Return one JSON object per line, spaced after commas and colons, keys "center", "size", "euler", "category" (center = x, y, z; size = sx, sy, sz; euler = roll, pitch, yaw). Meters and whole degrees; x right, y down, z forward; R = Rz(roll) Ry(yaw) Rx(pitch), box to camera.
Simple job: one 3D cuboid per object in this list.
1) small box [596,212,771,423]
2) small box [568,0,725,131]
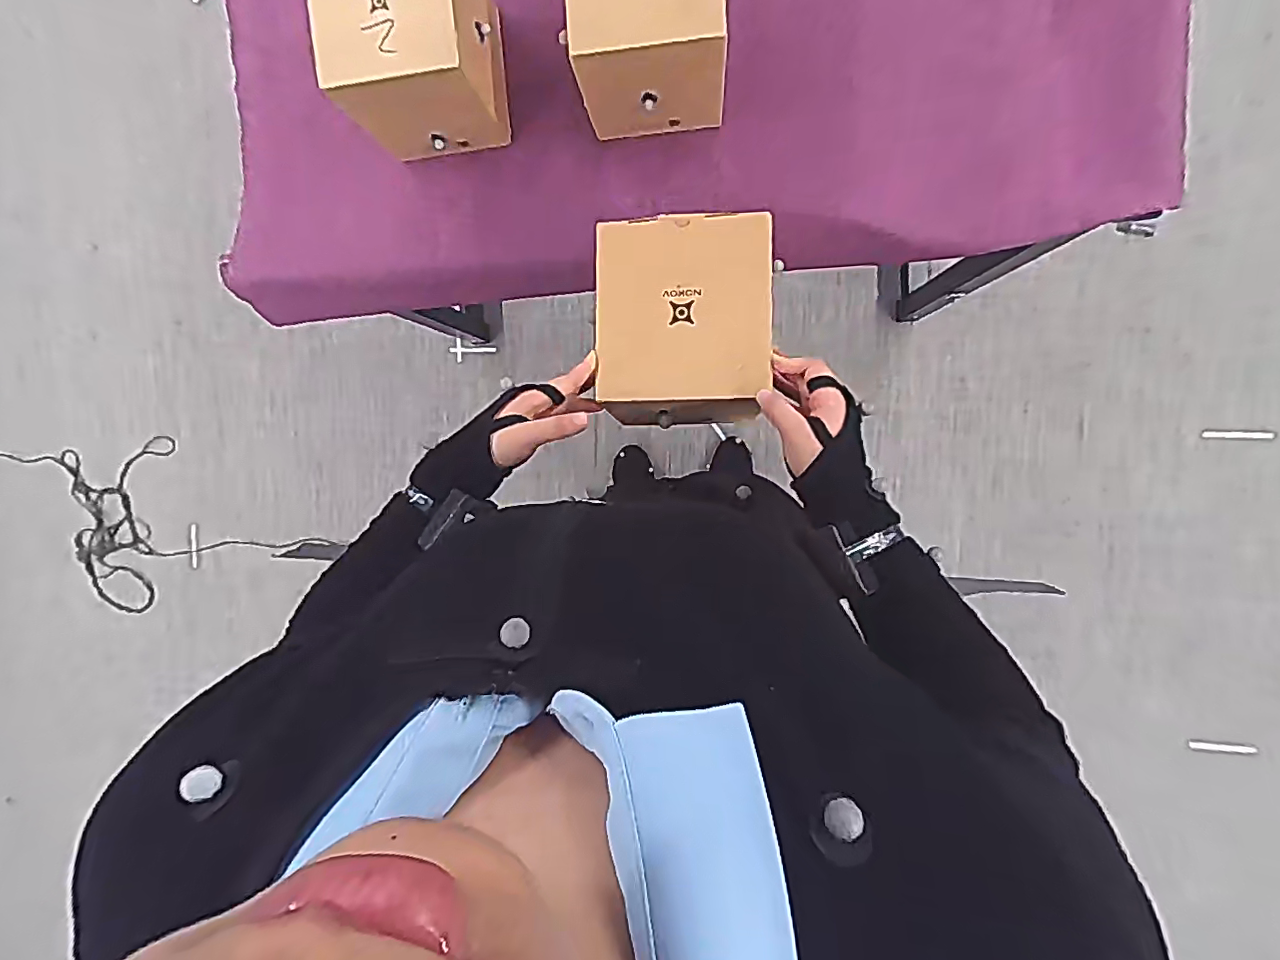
{"center": [0.051, -0.157, 0.585], "size": [0.168, 0.176, 0.179], "euler": [0, 86, 7], "category": "small box"}
{"center": [0.014, -0.538, 0.632], "size": [0.168, 0.176, 0.179], "euler": [-2, 94, 6], "category": "small box"}
